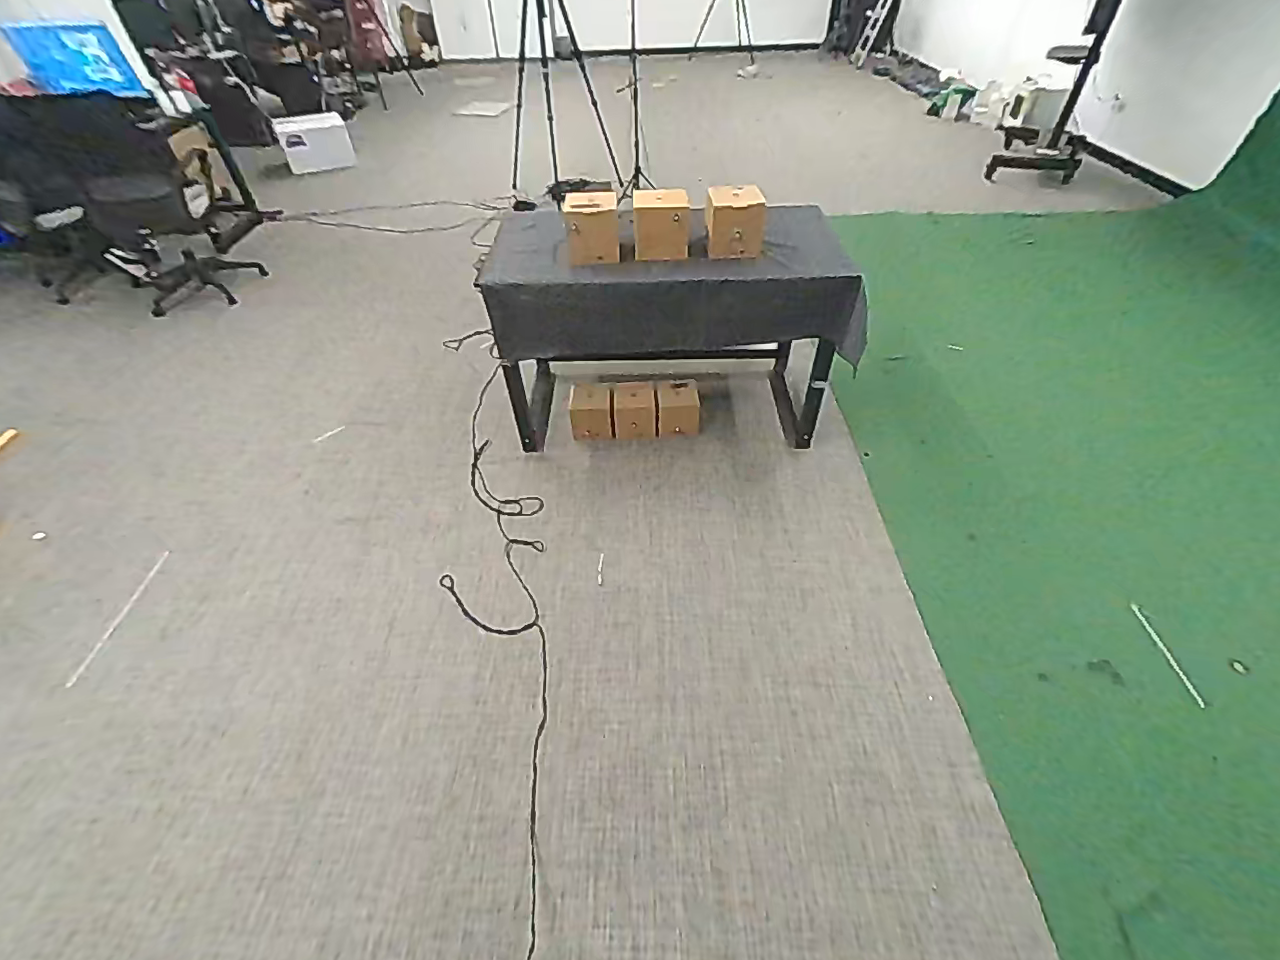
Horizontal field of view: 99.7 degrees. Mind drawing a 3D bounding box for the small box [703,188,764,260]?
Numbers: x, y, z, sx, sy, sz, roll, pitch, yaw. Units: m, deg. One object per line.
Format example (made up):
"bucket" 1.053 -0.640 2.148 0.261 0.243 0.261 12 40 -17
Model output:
"small box" 0.302 -0.835 1.772 0.168 0.176 0.179 -2 46 -1
